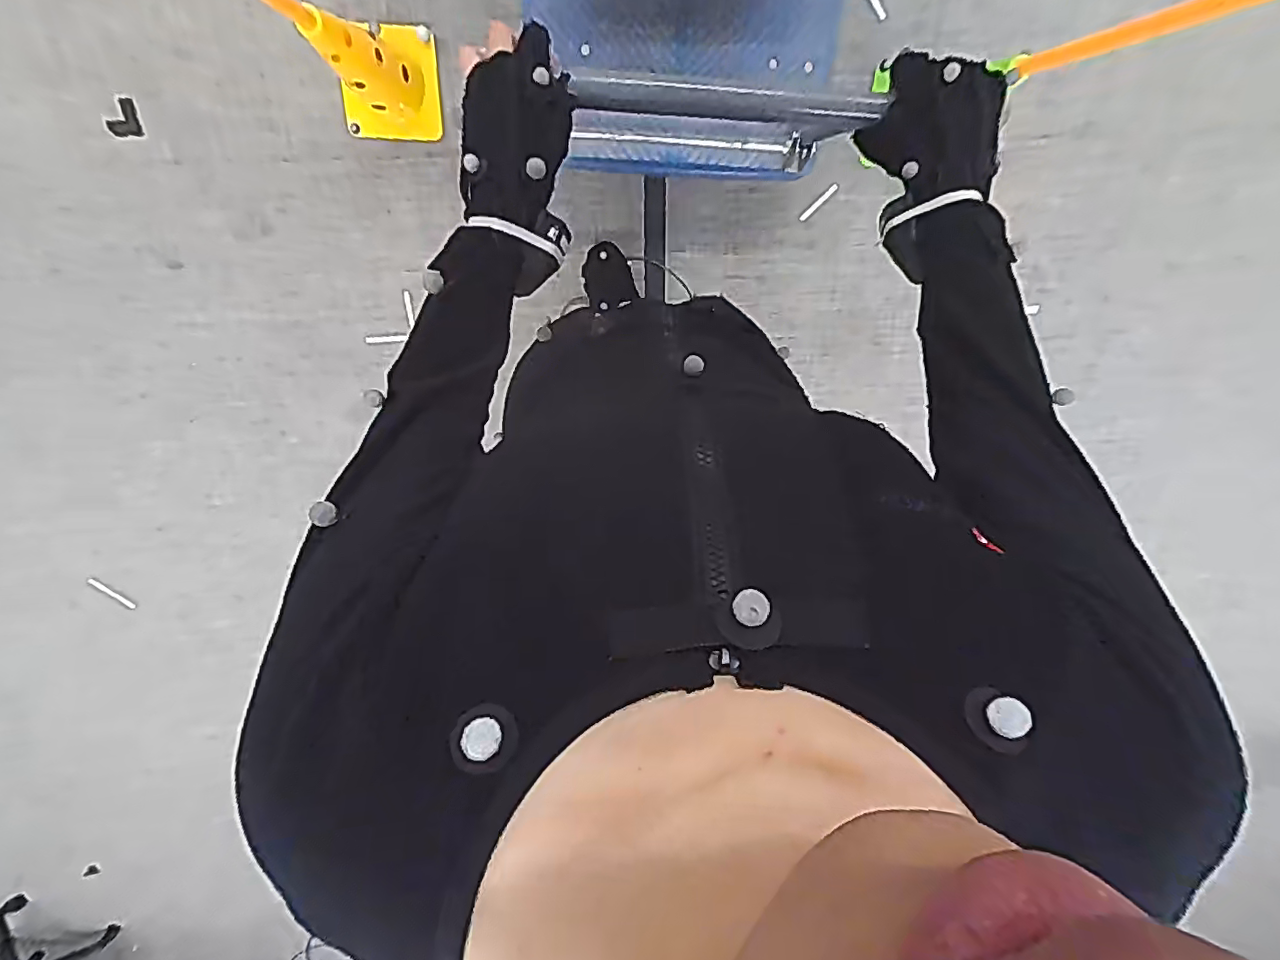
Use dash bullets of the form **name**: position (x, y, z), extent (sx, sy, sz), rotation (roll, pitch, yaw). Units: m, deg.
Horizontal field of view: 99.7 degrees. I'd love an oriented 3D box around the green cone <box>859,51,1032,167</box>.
- **green cone**: position (0.614, -0.753, 1.059), extent (0.202, 0.368, 0.200), rotation (1, 114, -5)
